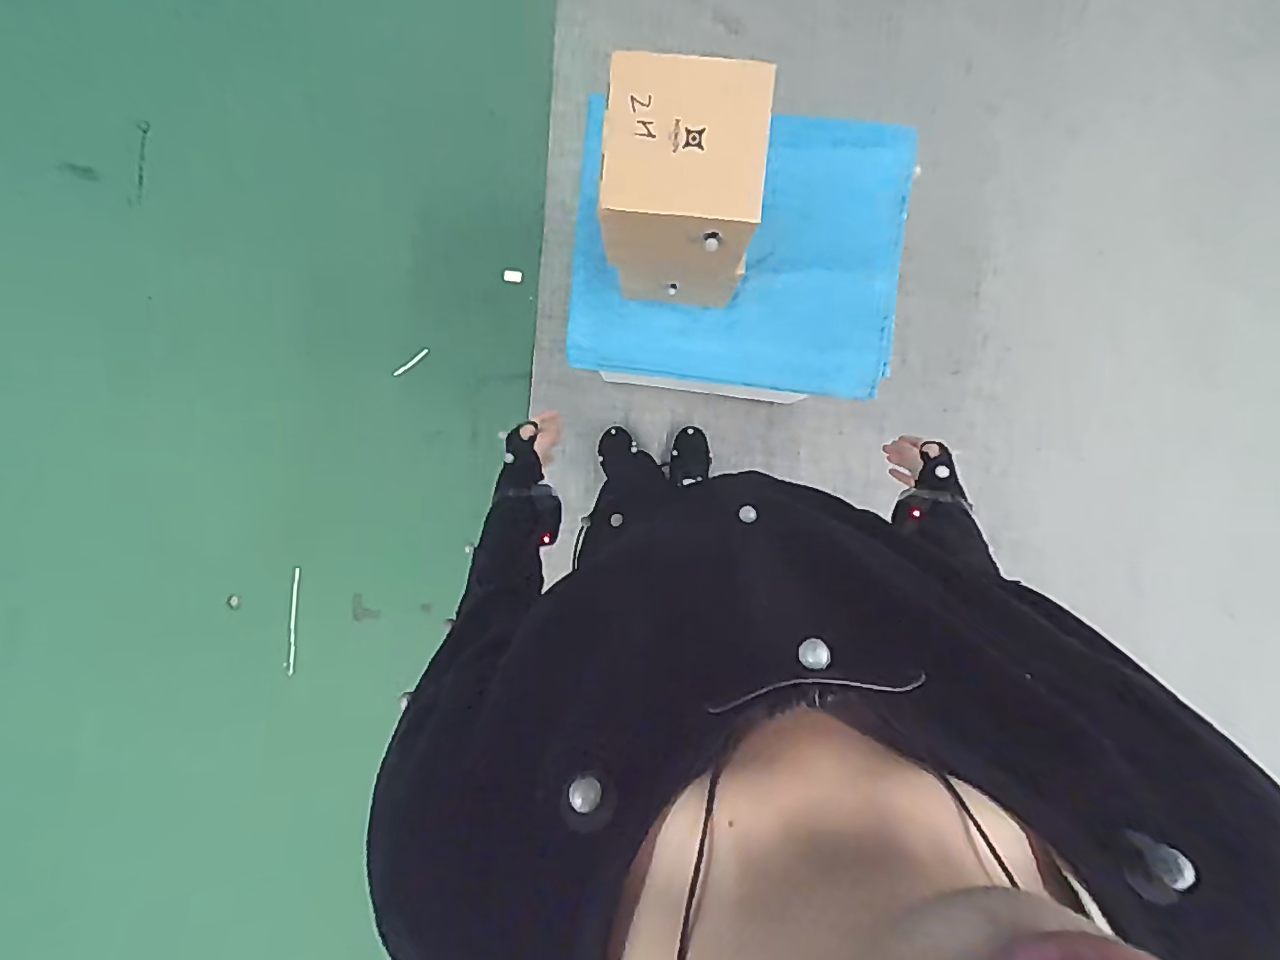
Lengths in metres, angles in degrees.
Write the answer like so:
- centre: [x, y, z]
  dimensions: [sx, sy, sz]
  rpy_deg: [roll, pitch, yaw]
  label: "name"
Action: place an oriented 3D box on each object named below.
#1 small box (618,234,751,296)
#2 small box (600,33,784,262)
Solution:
- centre: [0.066, -0.379, 0.798]
  dimensions: [0.179, 0.176, 0.168]
  rpy_deg: [6, 93, 1]
  label: "small box"
- centre: [0.053, -0.369, 0.634]
  dimensions: [0.179, 0.176, 0.168]
  rpy_deg: [6, 93, 1]
  label: "small box"
